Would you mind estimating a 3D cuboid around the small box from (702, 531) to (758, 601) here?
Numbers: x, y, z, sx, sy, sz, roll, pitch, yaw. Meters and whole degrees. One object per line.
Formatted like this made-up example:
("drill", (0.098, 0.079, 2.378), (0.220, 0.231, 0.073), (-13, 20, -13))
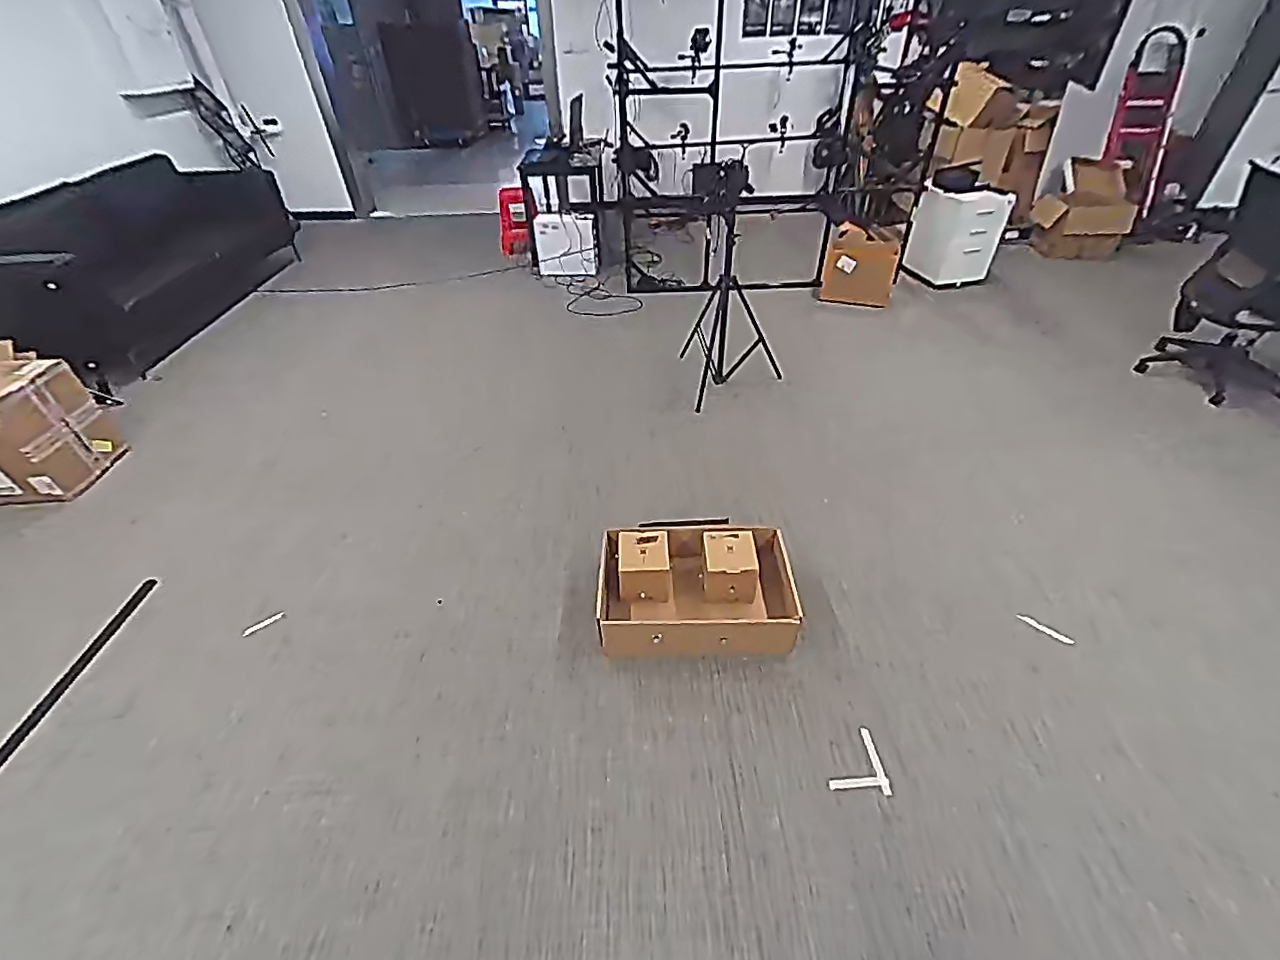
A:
("small box", (0.298, 0.293, 1.820), (0.168, 0.176, 0.179), (-1, 42, 2))
